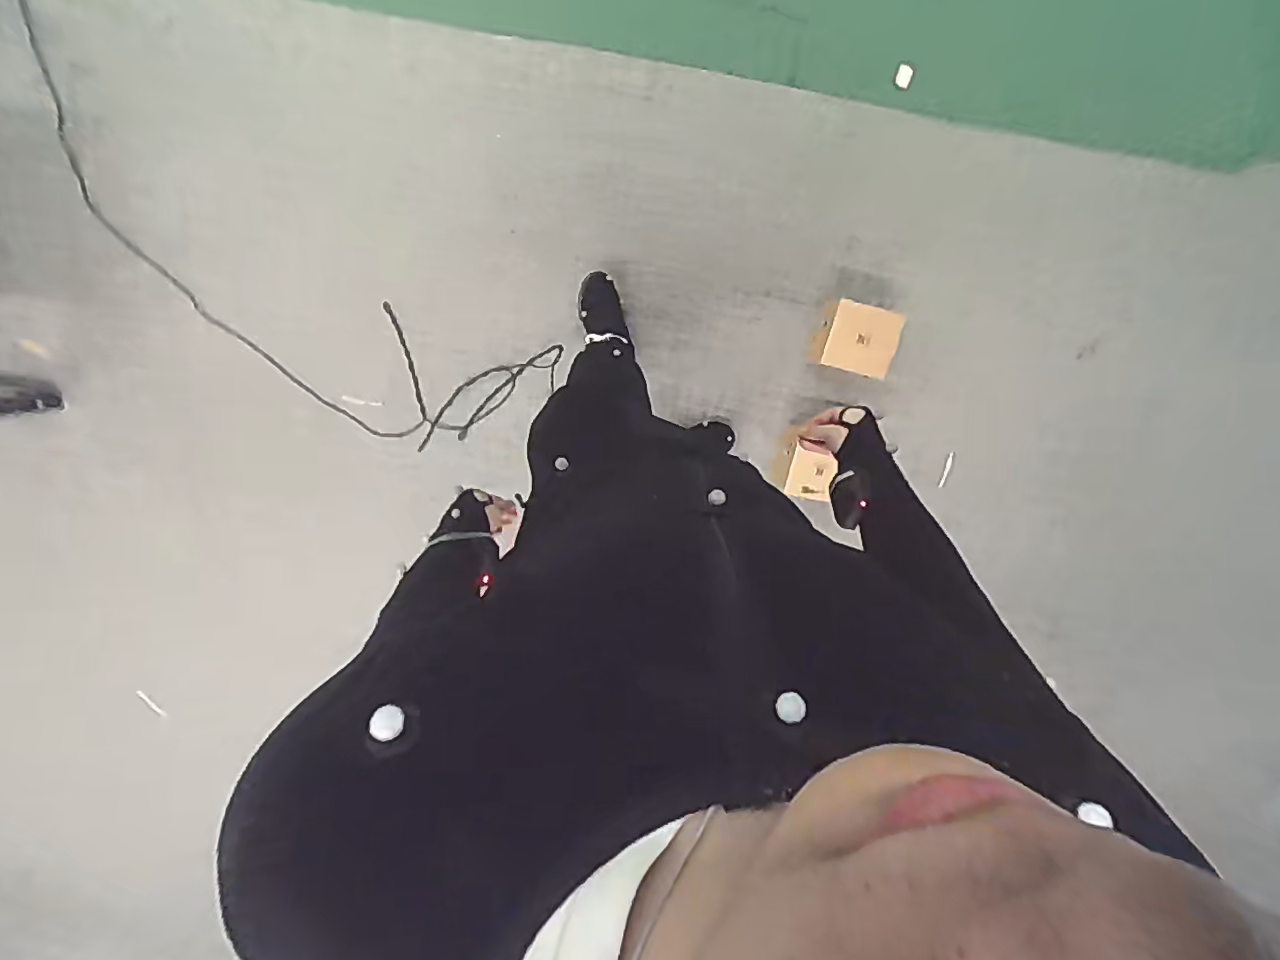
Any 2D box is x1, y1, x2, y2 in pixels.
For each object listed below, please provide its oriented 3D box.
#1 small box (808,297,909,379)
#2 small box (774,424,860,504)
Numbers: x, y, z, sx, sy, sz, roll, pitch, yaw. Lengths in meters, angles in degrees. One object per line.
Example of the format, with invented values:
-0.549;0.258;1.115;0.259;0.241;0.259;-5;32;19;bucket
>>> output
0.569;-0.374;1.437;0.179;0.176;0.168;14;105;-2;small box
0.489;-0.051;1.521;0.168;0.176;0.179;12;104;0;small box
